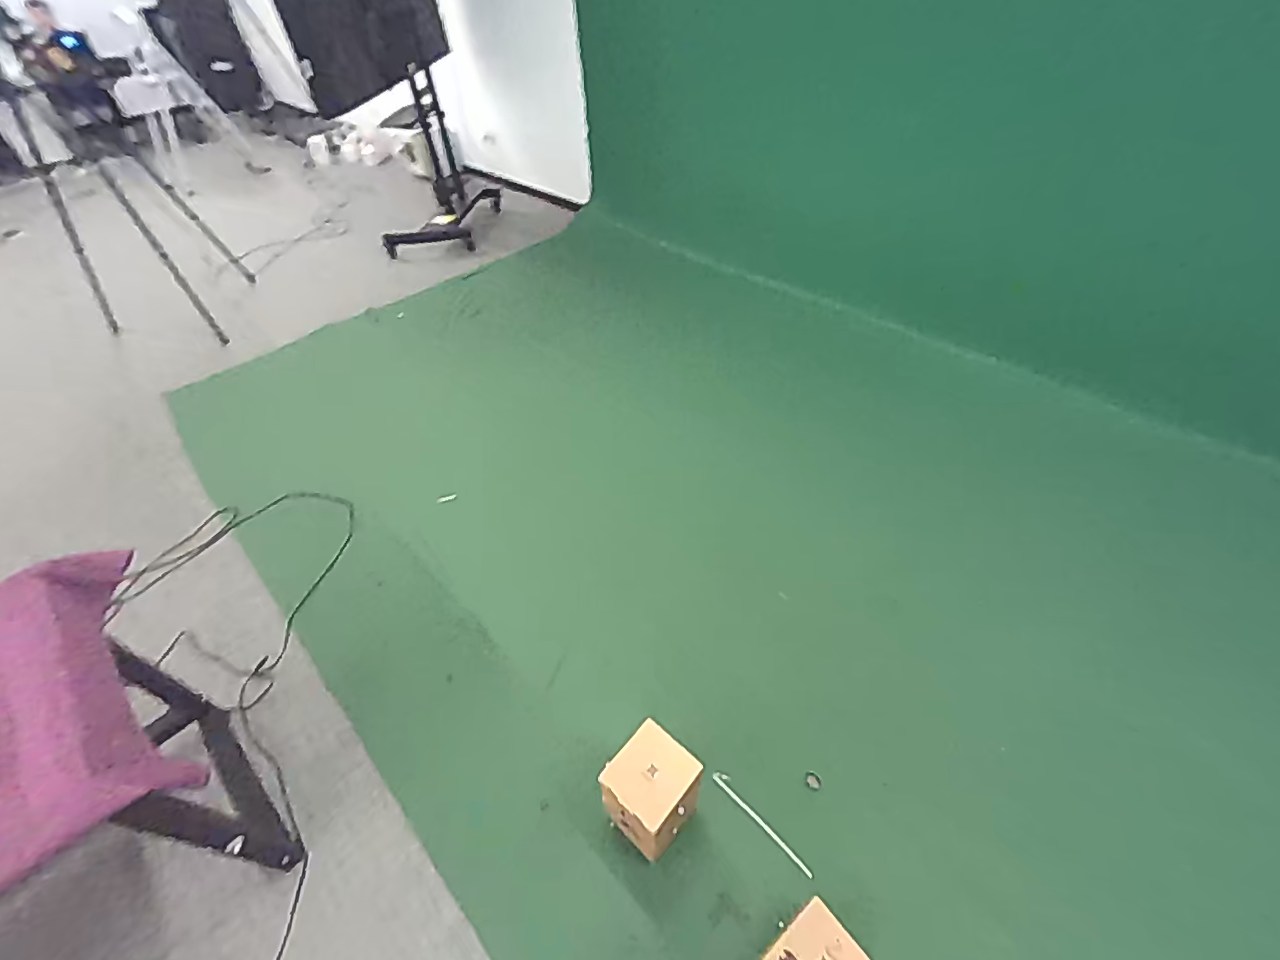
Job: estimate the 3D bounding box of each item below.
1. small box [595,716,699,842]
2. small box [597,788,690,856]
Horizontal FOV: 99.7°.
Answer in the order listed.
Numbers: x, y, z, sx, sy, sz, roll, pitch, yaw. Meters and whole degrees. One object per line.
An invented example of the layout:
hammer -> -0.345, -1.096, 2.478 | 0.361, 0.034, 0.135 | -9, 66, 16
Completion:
small box -> 0.016, 0.696, 1.257 | 0.168, 0.176, 0.179 | 32, 56, 28
small box -> 0.014, 0.810, 1.373 | 0.168, 0.176, 0.179 | 33, 55, 29
